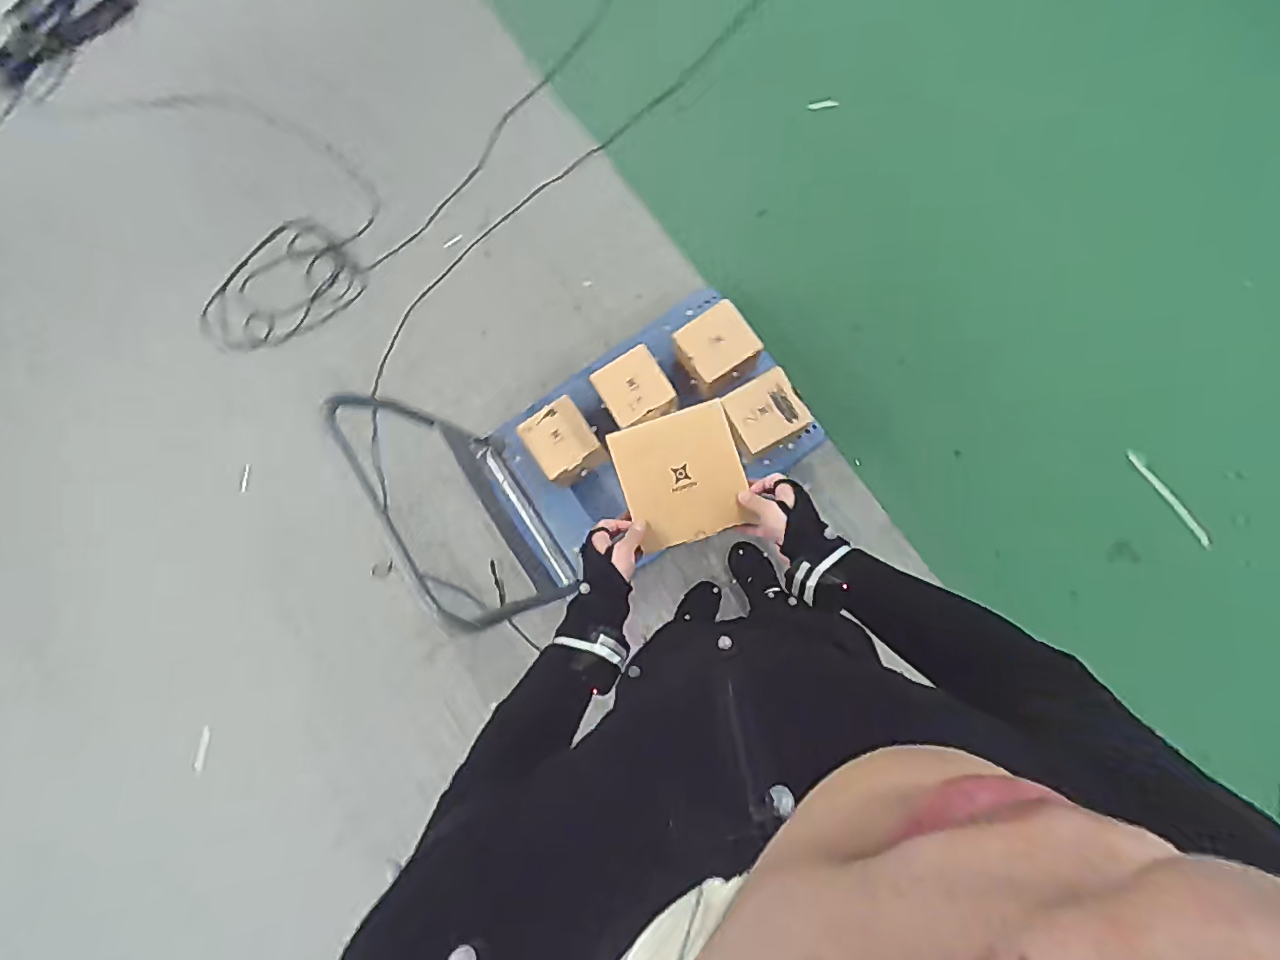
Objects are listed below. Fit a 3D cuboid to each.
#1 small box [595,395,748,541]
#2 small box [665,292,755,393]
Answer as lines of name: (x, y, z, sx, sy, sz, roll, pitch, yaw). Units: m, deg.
small box: (0.046, -0.017, 0.810, 0.179, 0.176, 0.168, 15, 93, 2)
small box: (0.189, -0.361, 1.457, 0.179, 0.176, 0.168, -34, 81, 1)
